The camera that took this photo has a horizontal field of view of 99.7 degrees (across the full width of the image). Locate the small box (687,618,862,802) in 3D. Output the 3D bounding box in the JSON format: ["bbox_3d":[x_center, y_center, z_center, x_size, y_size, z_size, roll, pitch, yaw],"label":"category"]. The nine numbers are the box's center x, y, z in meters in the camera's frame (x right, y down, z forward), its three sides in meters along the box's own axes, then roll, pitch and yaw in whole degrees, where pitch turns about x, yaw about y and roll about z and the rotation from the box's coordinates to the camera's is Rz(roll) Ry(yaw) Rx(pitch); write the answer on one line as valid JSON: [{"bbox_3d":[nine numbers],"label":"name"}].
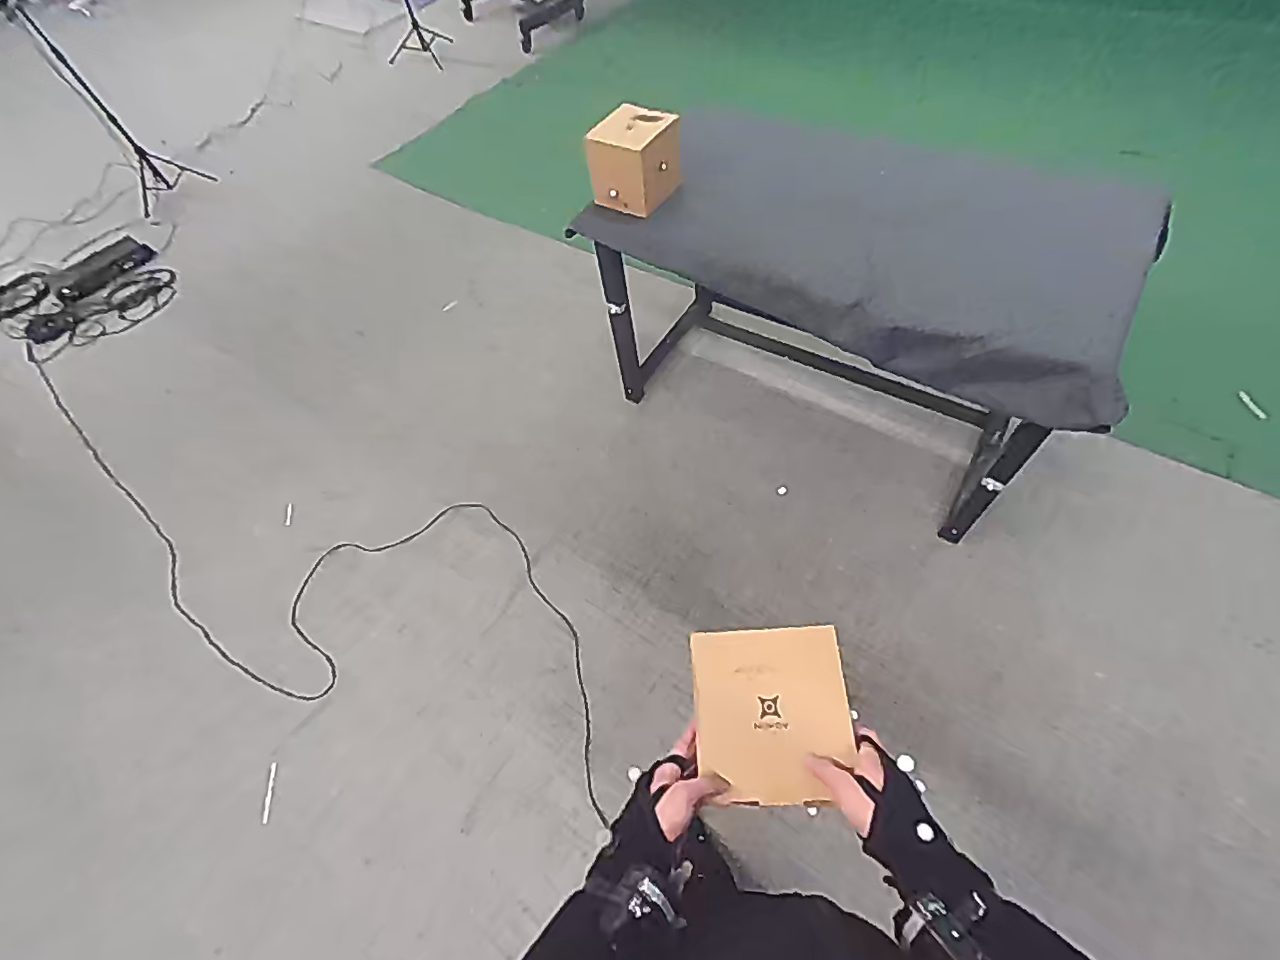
[{"bbox_3d":[0.149,0.273,0.640,0.168,0.176,0.179,-6,61,8],"label":"small box"}]

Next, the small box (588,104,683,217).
[{"bbox_3d":[-0.005,-0.797,1.351,0.168,0.176,0.179,27,65,22],"label":"small box"}]
